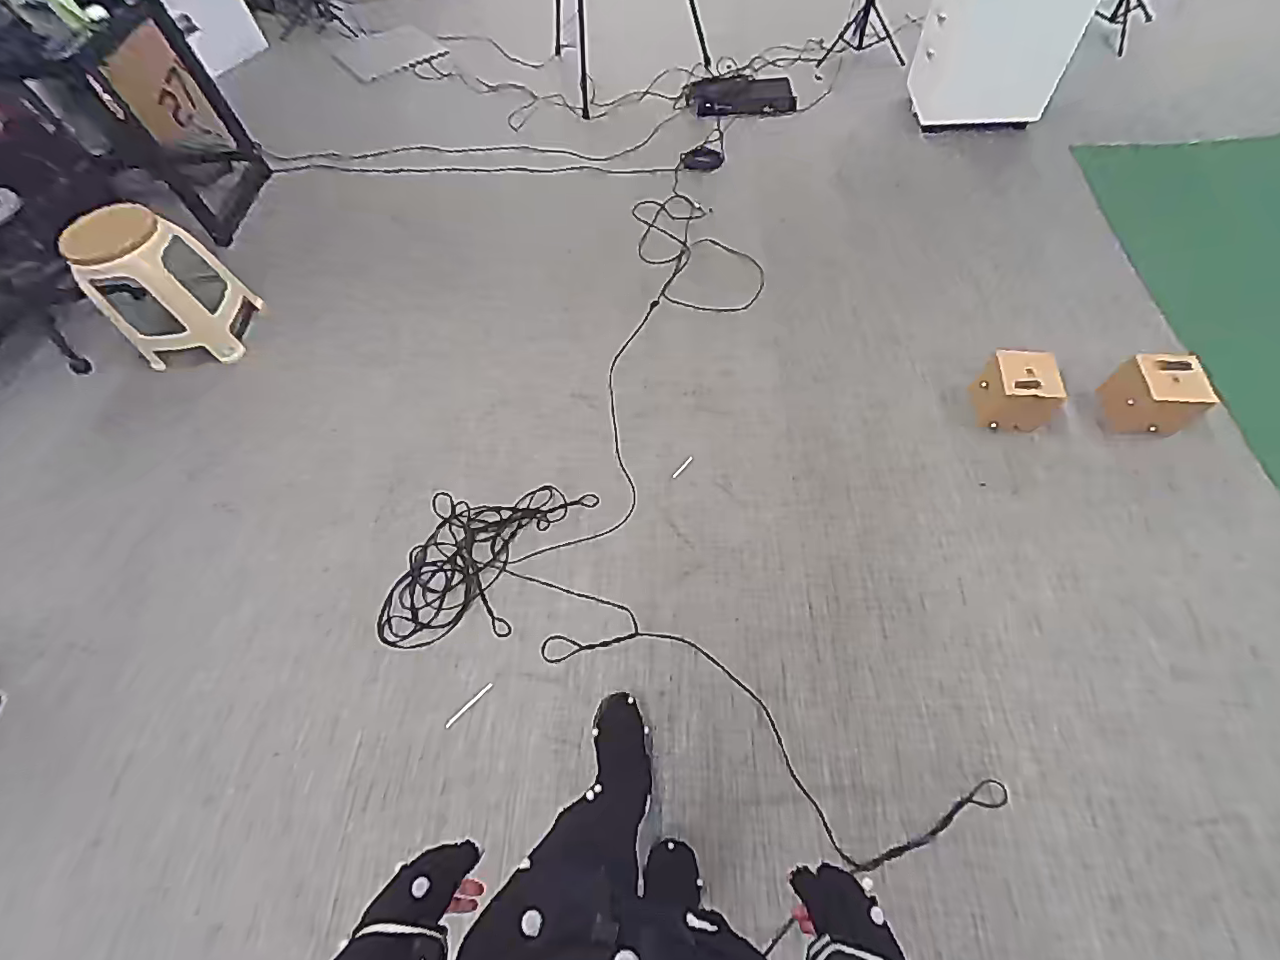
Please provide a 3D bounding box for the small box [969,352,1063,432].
[{"bbox_3d":[1.130,-0.263,1.641,0.168,0.176,0.179,6,59,7],"label":"small box"}]
